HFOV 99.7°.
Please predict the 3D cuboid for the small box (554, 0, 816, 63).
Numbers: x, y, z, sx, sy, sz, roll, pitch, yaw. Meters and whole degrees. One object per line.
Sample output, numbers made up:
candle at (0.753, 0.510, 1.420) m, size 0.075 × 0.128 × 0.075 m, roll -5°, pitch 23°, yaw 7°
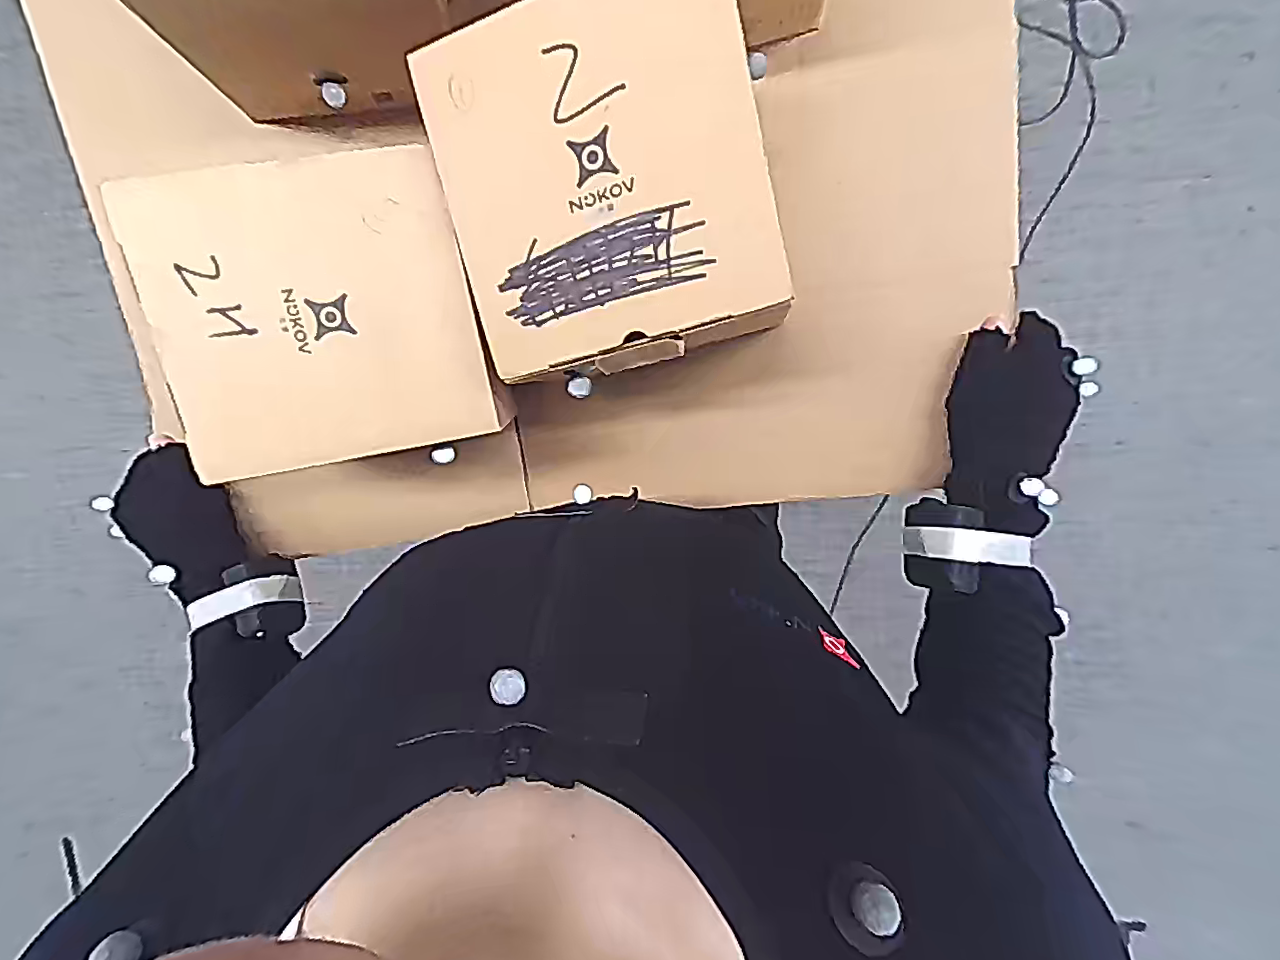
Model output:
small box at (0.018, -0.377, 0.304) m, size 0.168 × 0.176 × 0.179 m, roll -5°, pitch 100°, yaw 13°
